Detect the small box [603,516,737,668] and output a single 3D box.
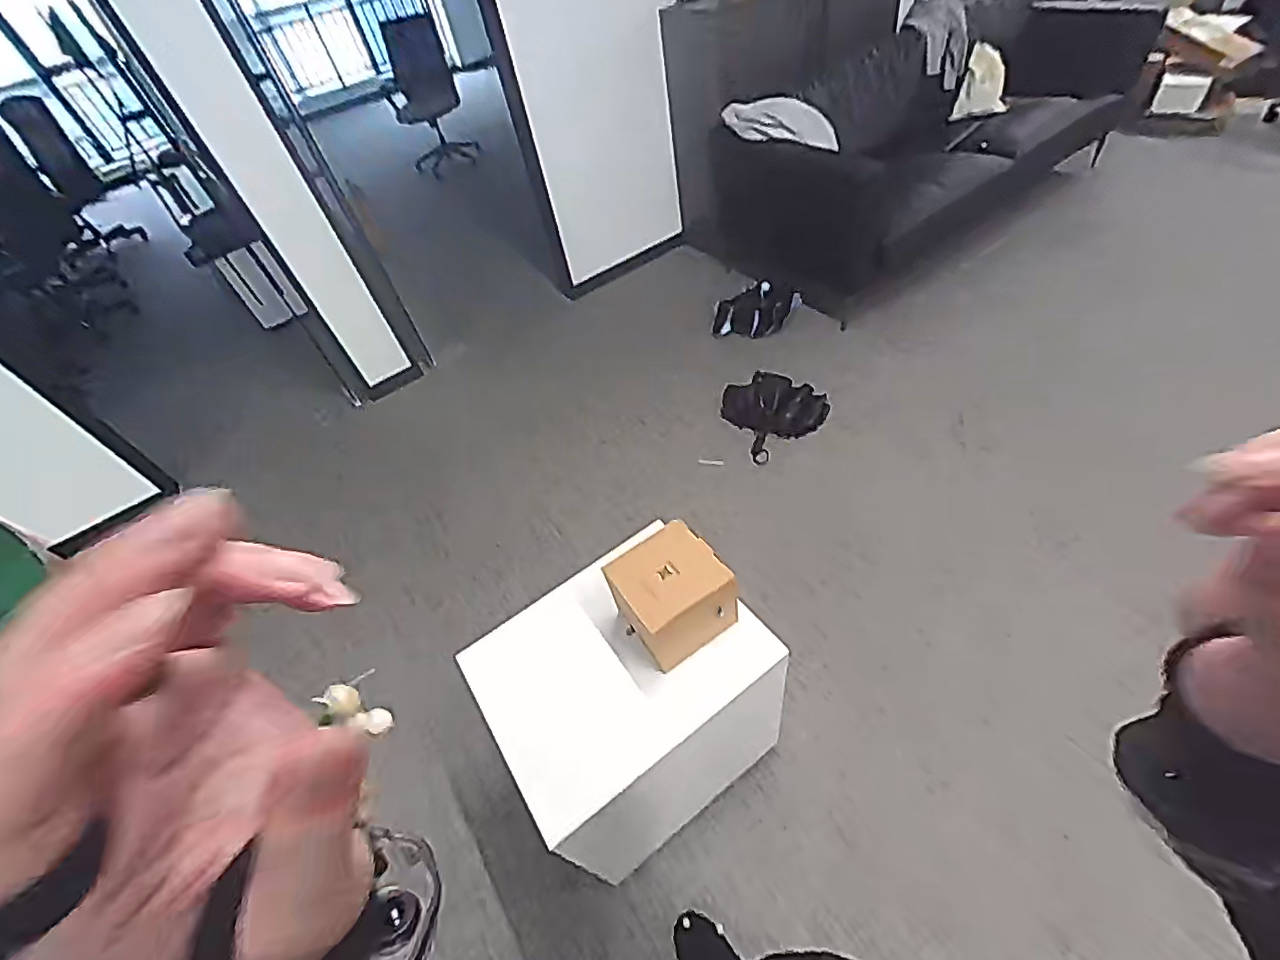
[{"bbox_3d":[0.060,0.205,0.986,0.179,0.176,0.168,-33,50,-14],"label":"small box"}]
